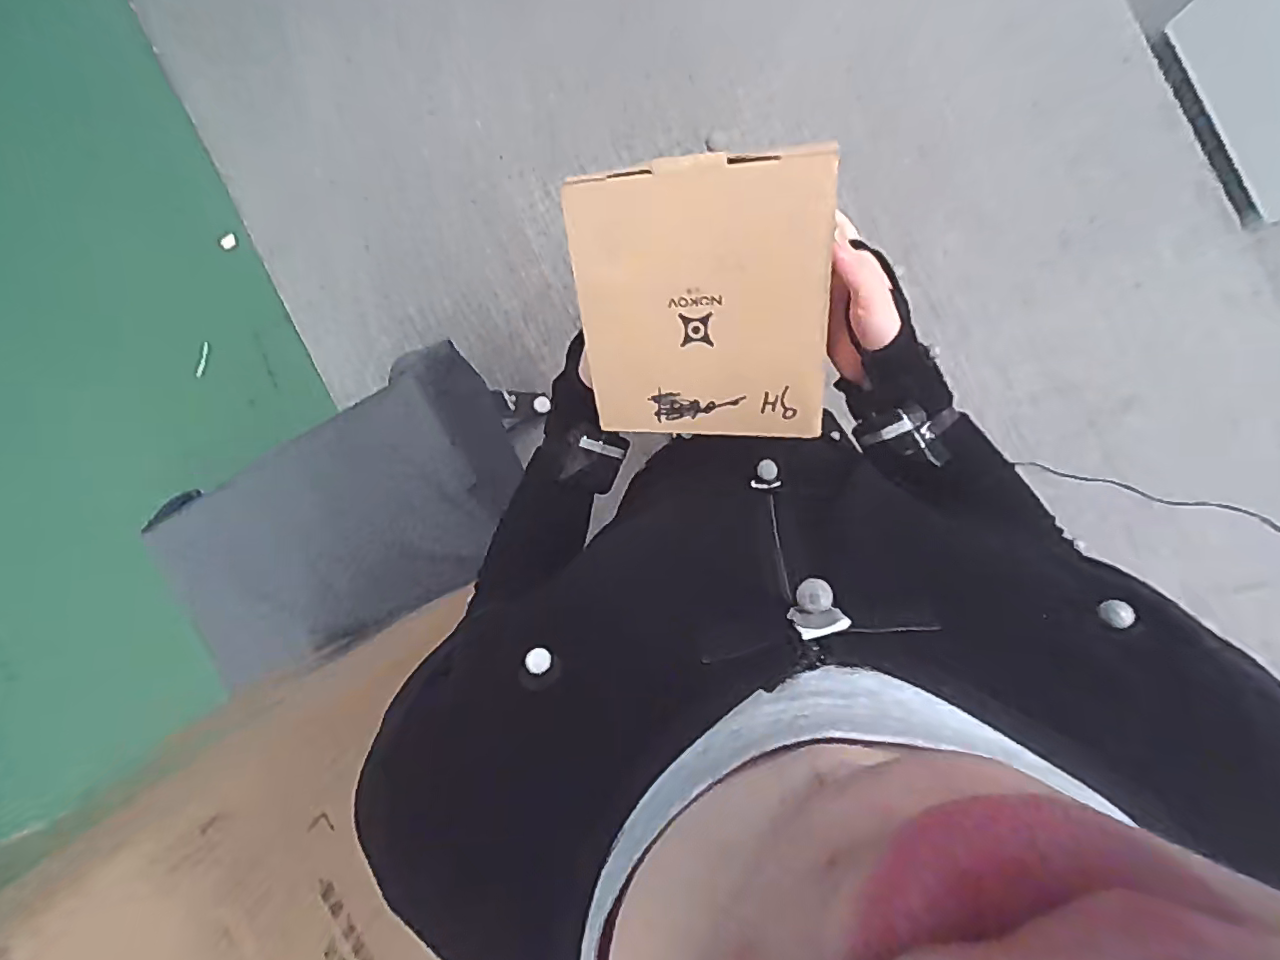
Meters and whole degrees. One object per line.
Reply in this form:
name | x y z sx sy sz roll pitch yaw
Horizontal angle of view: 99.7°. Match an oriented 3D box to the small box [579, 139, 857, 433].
small box | 0.068 -0.152 0.420 0.168 0.176 0.179 3 122 17
